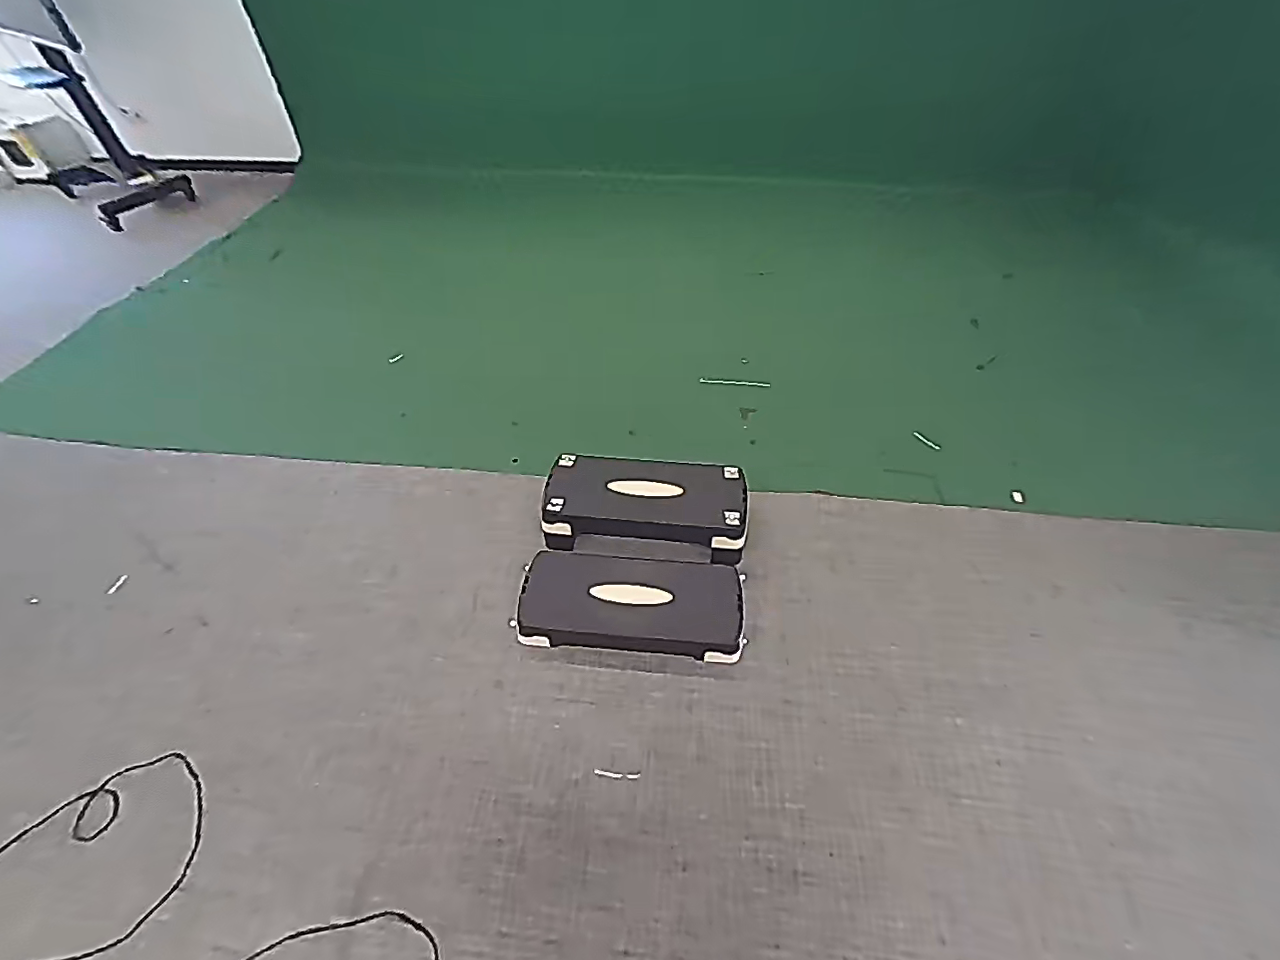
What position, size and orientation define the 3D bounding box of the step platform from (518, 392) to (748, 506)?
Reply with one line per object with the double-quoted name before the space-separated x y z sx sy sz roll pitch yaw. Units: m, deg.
"step platform" -0.018 -0.097 1.693 0.684 0.204 0.286 4 49 5
